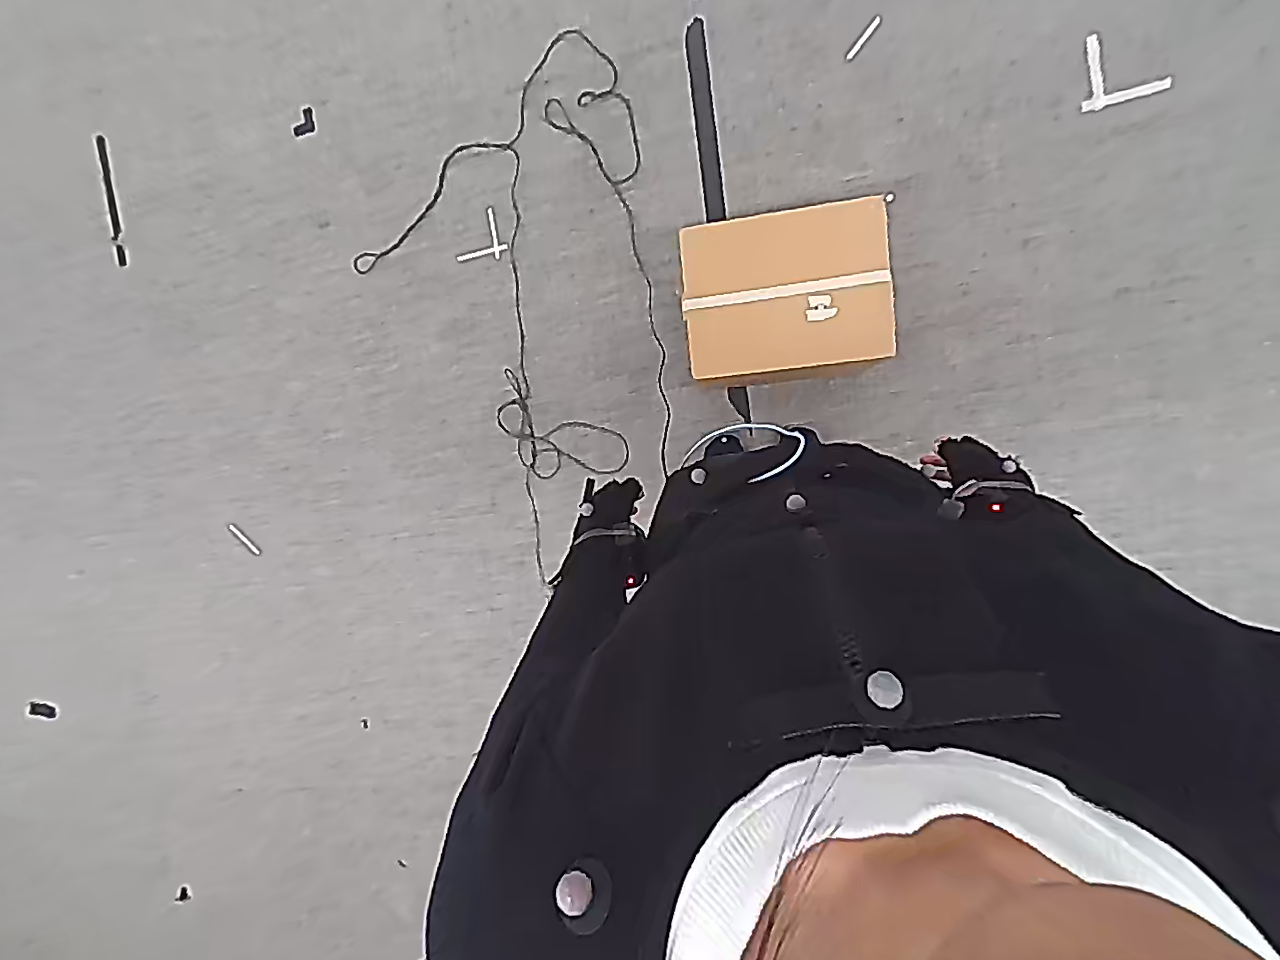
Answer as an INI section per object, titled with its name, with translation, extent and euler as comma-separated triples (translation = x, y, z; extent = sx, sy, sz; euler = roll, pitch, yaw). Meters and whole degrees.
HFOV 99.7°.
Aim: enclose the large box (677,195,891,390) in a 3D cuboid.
[large box]
translation = 0.310, -0.397, 1.243
extent = 0.408, 0.320, 0.320
euler = -5, 94, 10
